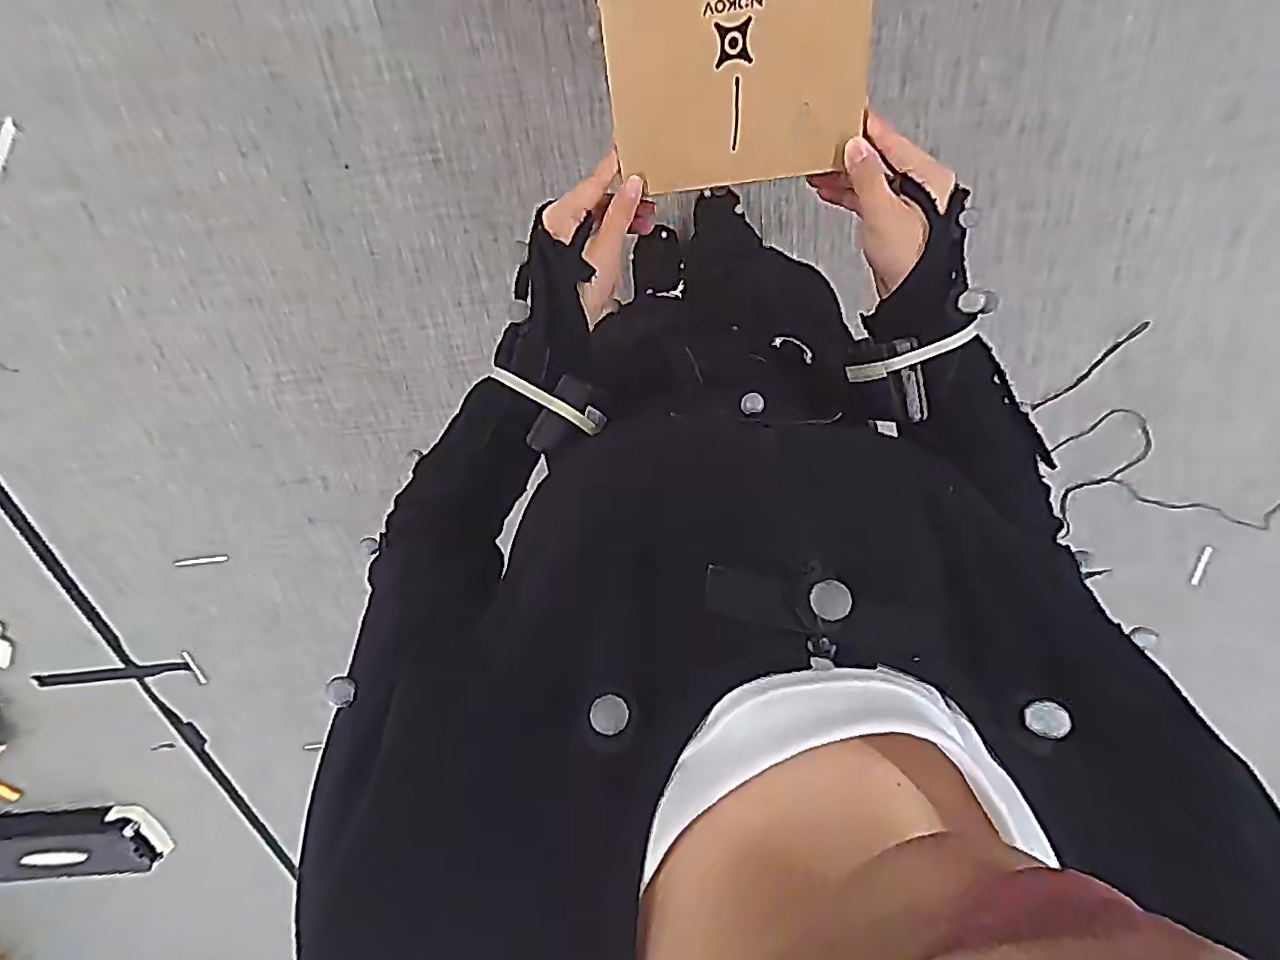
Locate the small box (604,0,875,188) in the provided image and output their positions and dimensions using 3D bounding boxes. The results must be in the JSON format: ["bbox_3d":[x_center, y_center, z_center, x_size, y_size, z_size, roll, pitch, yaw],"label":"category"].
[{"bbox_3d":[0.063,-0.327,0.396,0.168,0.176,0.179,-4,123,7],"label":"small box"}]
